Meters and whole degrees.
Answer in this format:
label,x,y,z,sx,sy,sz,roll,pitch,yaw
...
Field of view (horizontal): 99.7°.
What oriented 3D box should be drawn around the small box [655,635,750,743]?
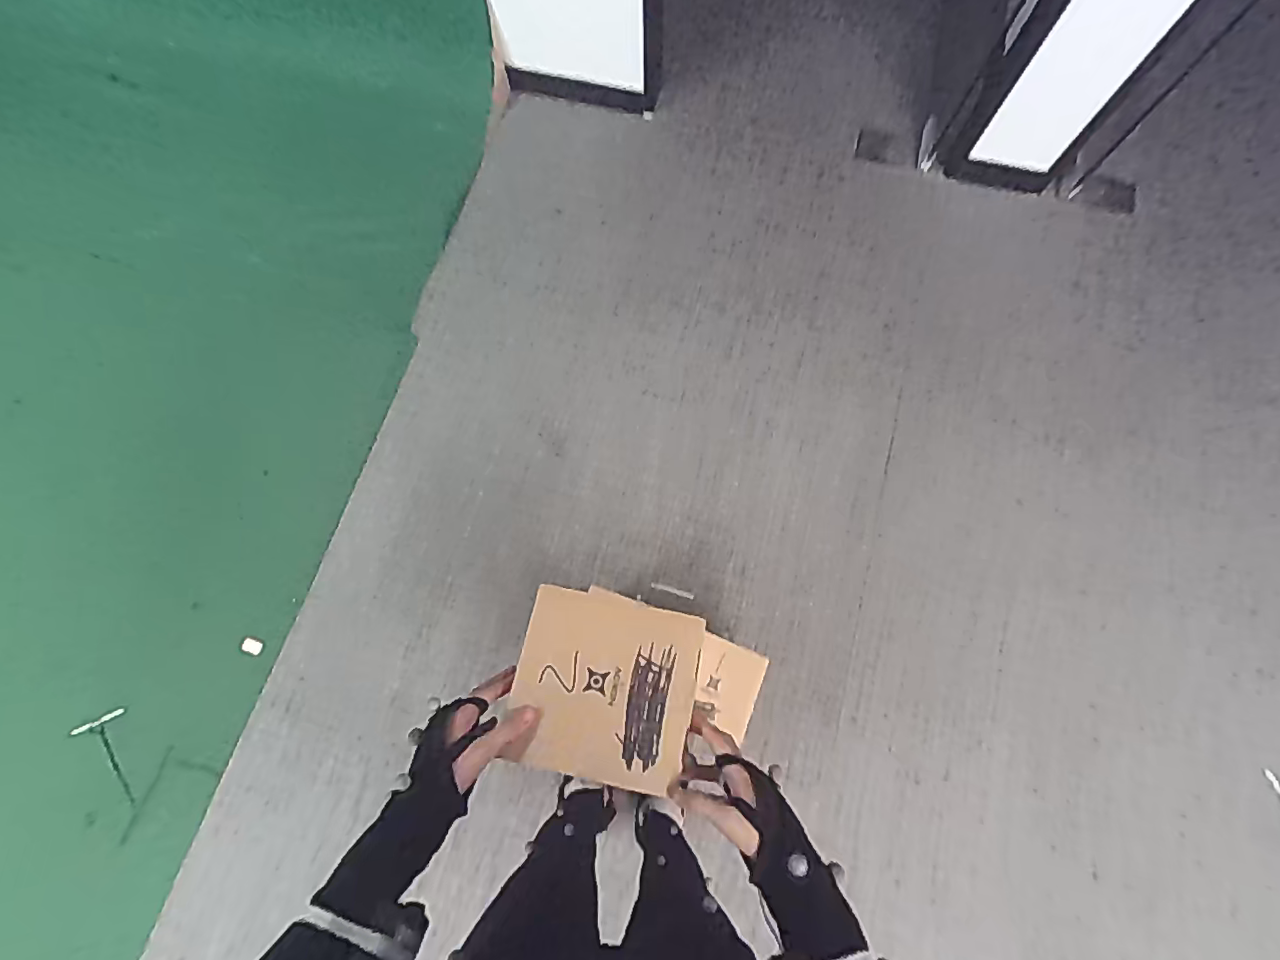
label,x,y,z,sx,sy,sz,roll,pitch,yaw
small box,0.132,0.455,1.206,0.168,0.176,0.179,16,76,5
